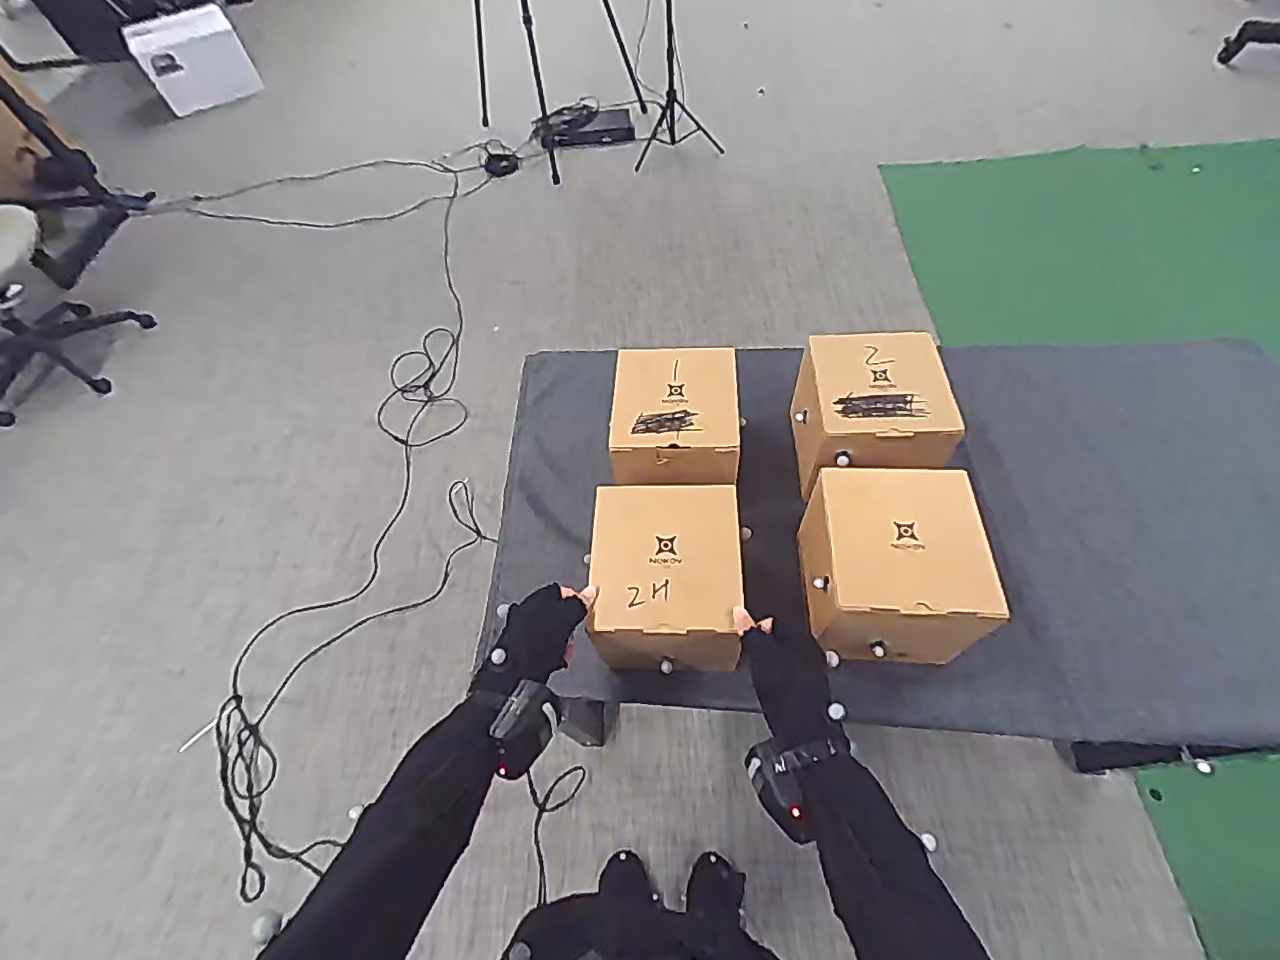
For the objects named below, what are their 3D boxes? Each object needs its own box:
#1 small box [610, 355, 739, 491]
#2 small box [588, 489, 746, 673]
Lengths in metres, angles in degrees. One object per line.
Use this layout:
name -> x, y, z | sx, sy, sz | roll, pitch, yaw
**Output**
small box -> 0.055, -0.060, 0.788 | 0.168, 0.176, 0.179 | 1, 57, 5
small box -> 0.036, 0.127, 0.666 | 0.168, 0.176, 0.179 | -1, 58, 5
